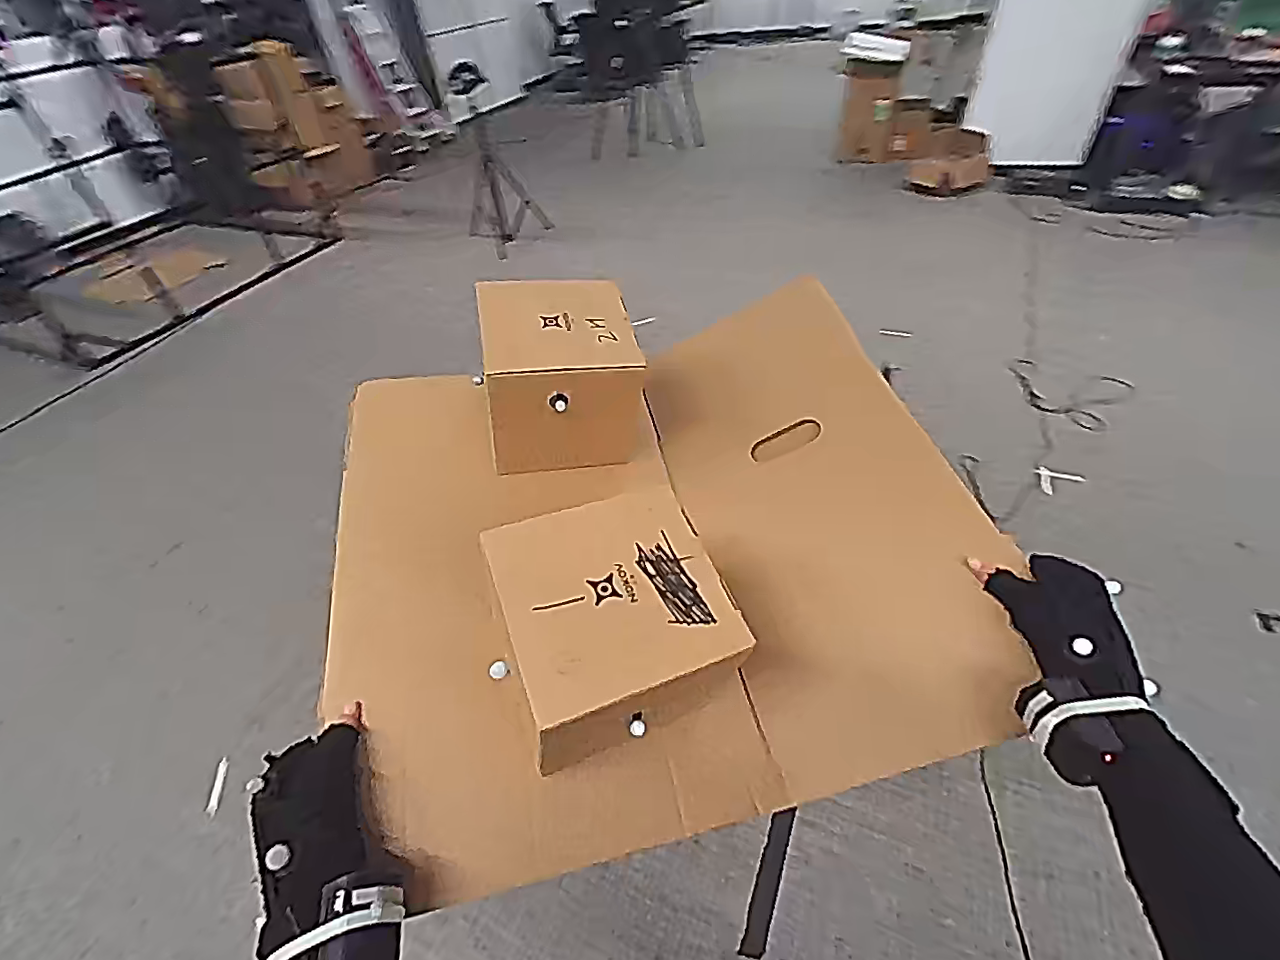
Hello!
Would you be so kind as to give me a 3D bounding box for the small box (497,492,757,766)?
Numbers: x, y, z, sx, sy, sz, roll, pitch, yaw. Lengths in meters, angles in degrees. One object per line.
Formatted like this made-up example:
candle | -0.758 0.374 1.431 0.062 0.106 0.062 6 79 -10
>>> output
small box | -0.025 0.139 0.502 0.179 0.176 0.168 -14 56 -19
